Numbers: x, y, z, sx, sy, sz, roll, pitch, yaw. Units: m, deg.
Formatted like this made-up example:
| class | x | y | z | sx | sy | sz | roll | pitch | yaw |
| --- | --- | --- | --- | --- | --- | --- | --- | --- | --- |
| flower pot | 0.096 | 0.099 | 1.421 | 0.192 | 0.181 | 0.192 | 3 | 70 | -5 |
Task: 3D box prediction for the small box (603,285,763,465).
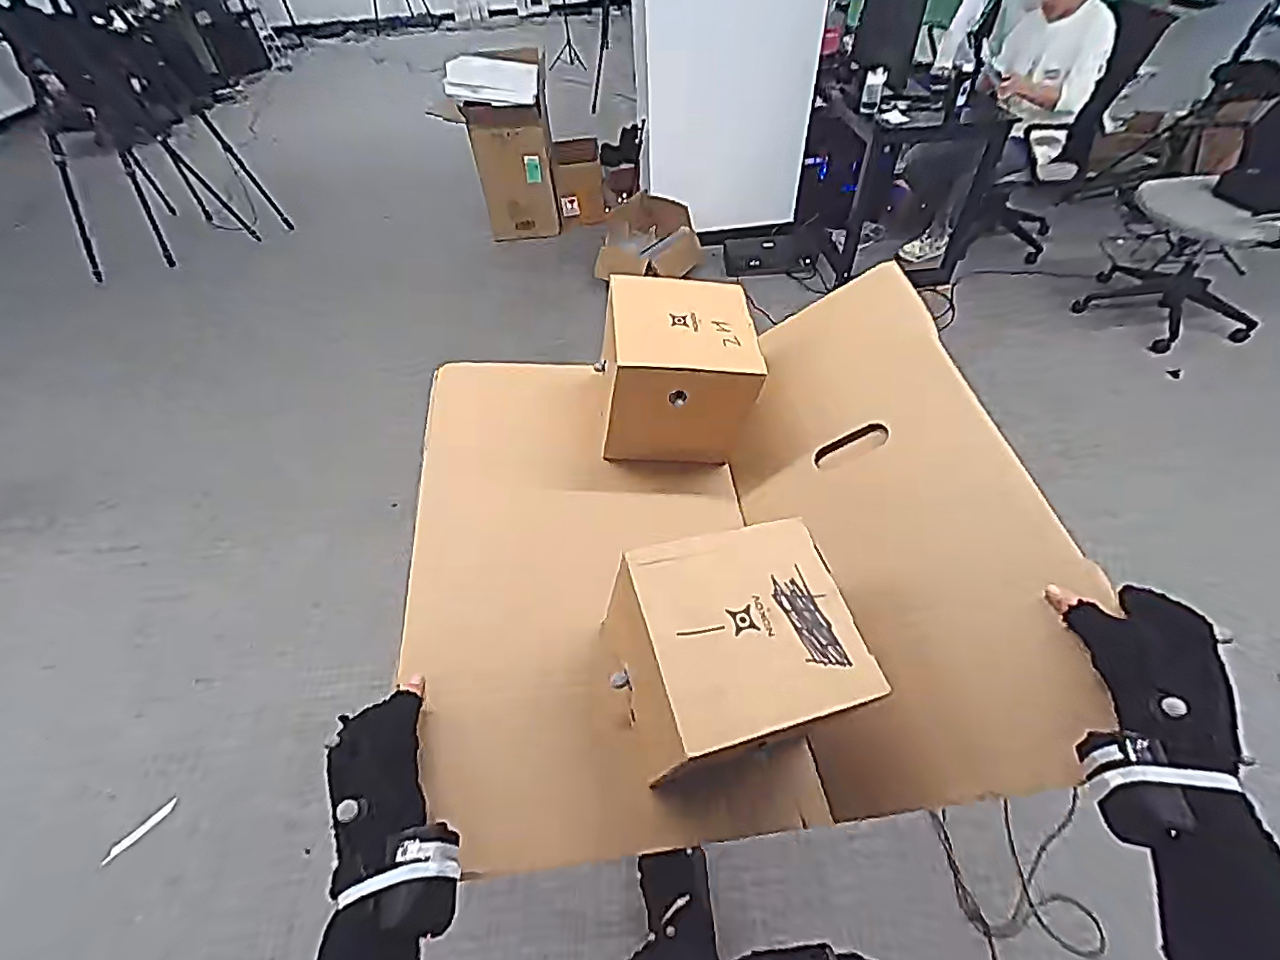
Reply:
| class | x | y | z | sx | sy | sz | roll | pitch | yaw |
| --- | --- | --- | --- | --- | --- | --- | --- | --- | --- |
| small box | 0.042 | -0.133 | 0.720 | 0.179 | 0.176 | 0.168 | 2 | 54 | -9 |
